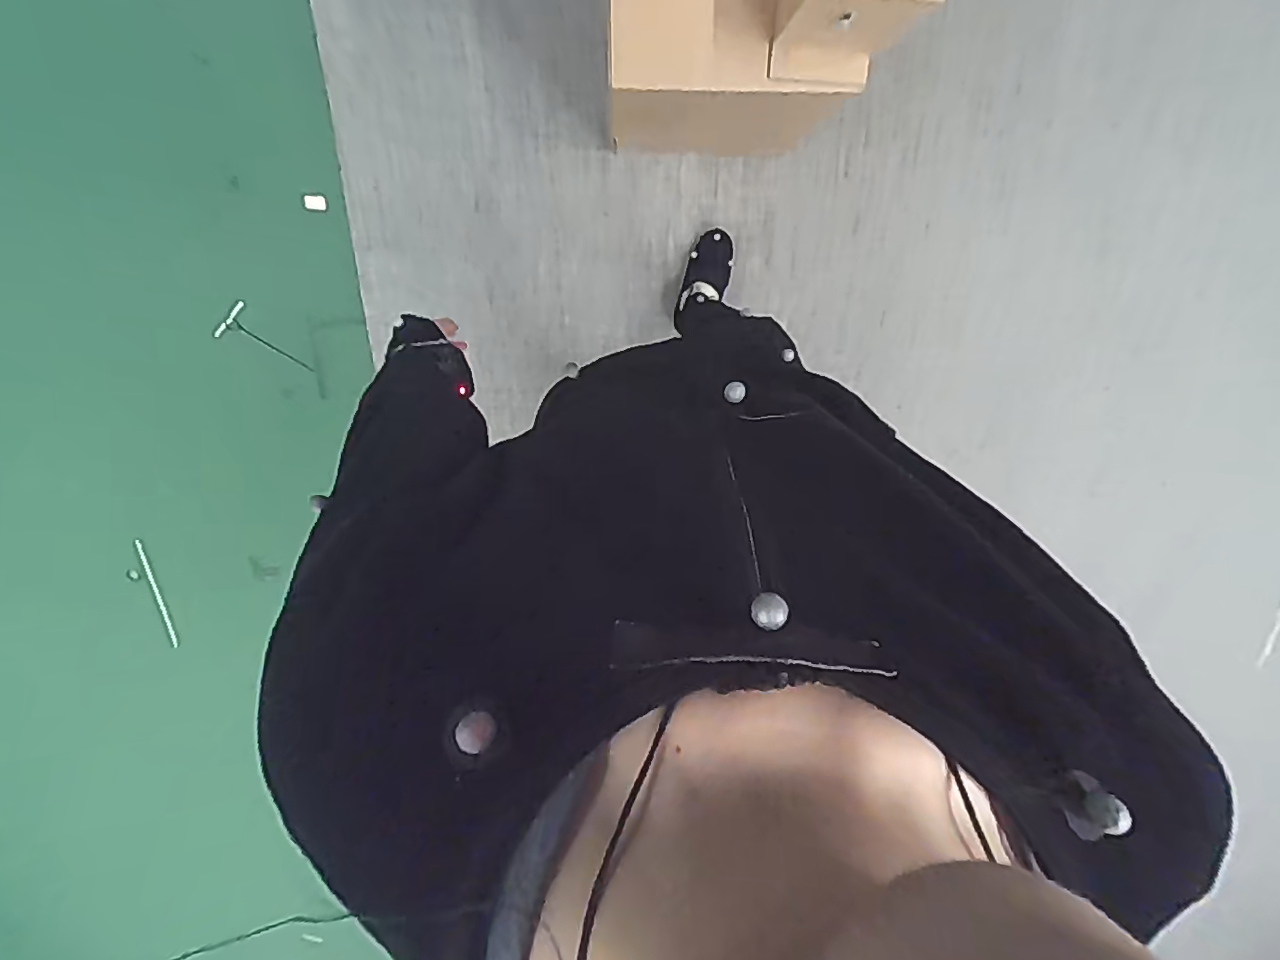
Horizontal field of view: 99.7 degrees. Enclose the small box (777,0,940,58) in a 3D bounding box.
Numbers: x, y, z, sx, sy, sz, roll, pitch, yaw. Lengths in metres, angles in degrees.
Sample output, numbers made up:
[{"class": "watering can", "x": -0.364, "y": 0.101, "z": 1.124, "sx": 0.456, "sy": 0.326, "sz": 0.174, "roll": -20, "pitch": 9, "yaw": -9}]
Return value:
[{"class": "small box", "x": 0.295, "y": -0.700, "z": 0.730, "sx": 0.179, "sy": 0.176, "sz": 0.168, "roll": 2, "pitch": 111, "yaw": -2}]
